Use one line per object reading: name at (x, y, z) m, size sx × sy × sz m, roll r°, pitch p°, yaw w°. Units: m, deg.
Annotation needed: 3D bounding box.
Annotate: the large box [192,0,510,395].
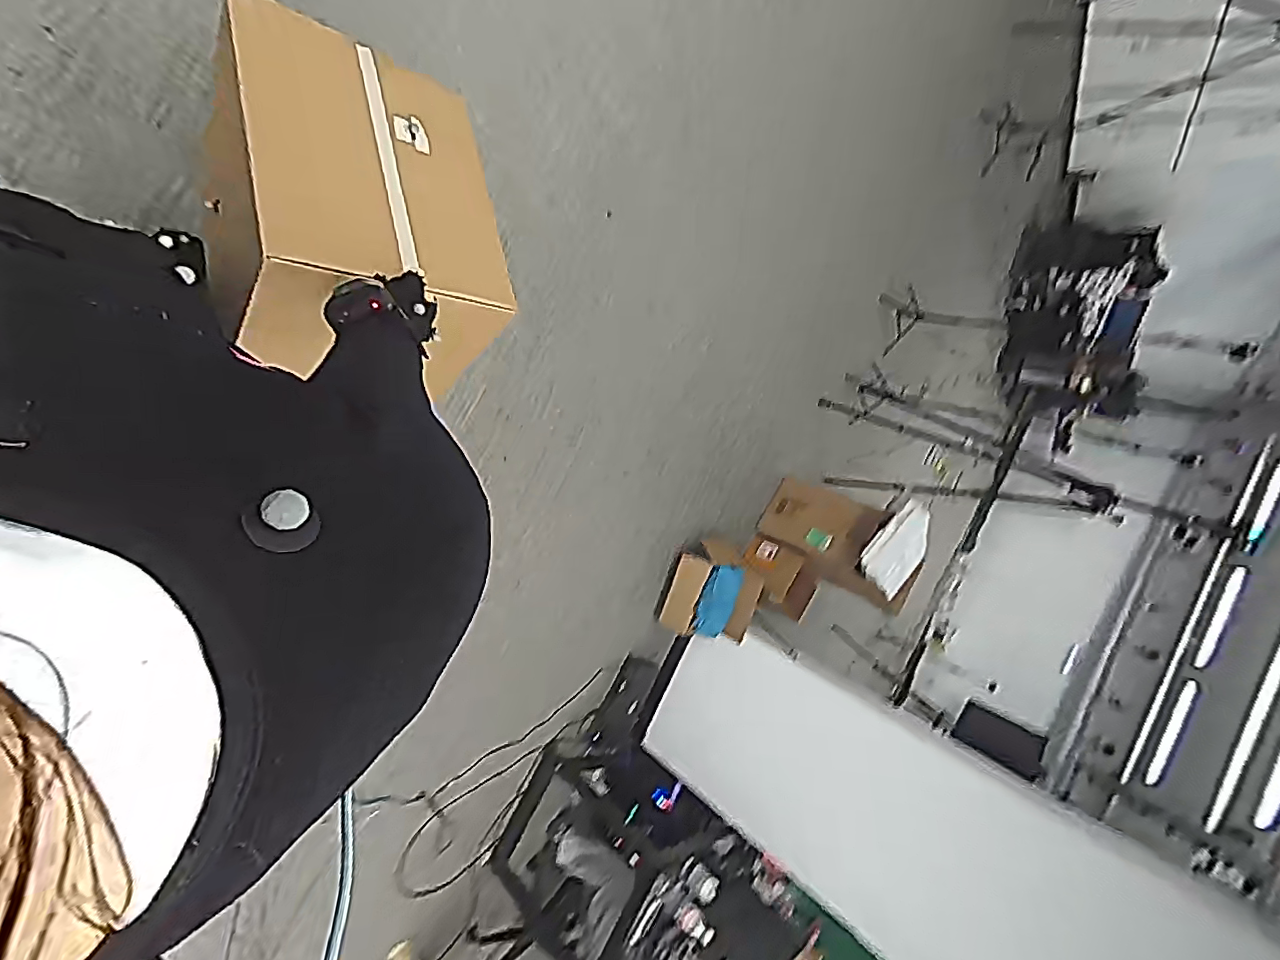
large box at (-0.455, -0.378, 0.831) m, size 0.320 × 0.320 × 0.408 m, roll -4°, pitch 72°, yaw -47°
